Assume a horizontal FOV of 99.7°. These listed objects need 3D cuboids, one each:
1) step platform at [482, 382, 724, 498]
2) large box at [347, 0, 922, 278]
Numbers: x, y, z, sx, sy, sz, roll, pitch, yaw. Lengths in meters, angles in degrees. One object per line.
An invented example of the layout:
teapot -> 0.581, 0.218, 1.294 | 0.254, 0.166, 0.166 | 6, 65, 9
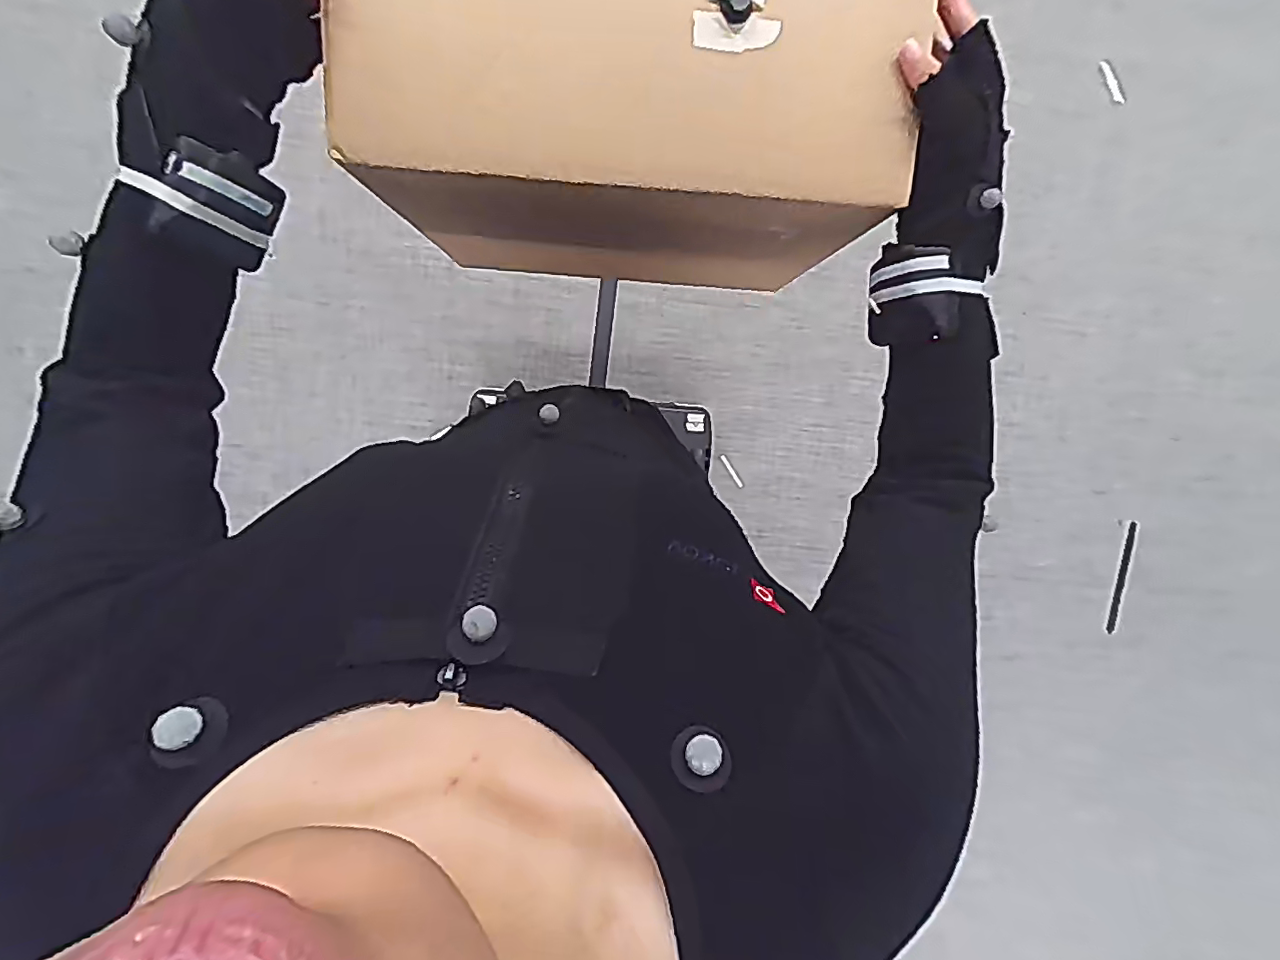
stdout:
step platform -> -0.103, -0.114, 1.561 | 0.684, 0.204, 0.286 | 4, 99, -5
large box -> -0.006, -0.392, 0.513 | 0.408, 0.320, 0.320 | 3, 99, -4
